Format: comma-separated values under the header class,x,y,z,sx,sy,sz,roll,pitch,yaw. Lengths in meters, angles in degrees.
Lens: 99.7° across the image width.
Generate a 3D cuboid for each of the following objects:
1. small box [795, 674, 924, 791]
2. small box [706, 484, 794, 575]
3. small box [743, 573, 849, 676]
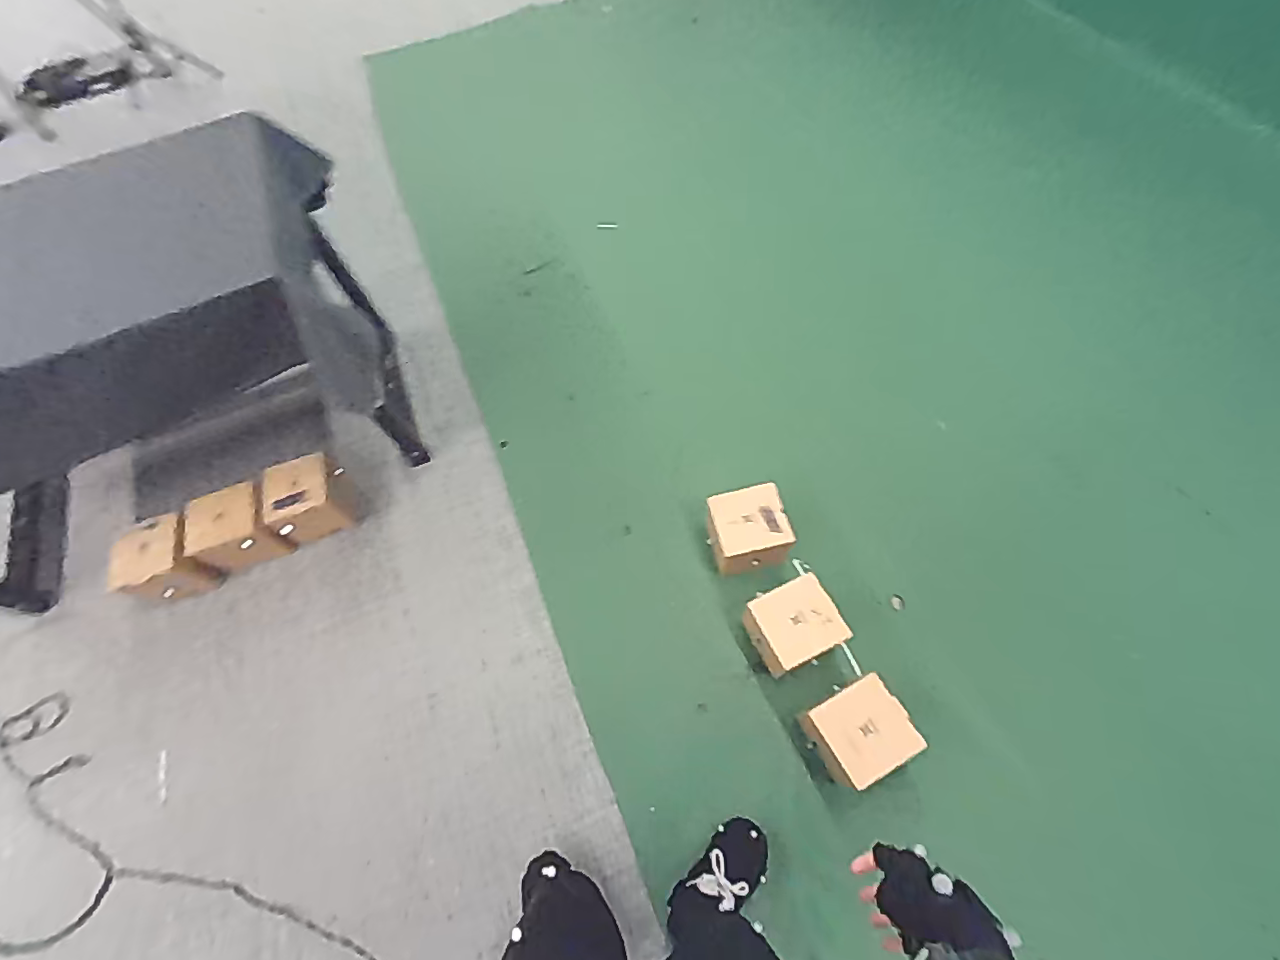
class,x,y,z,sx,sy,sz,roll,pitch,yaw
small box,0.463,0.545,1.174,0.179,0.176,0.168,-26,64,-10
small box,0.274,0.131,1.395,0.179,0.176,0.168,-13,62,-1
small box,0.357,0.348,1.279,0.179,0.176,0.168,-23,65,-8
